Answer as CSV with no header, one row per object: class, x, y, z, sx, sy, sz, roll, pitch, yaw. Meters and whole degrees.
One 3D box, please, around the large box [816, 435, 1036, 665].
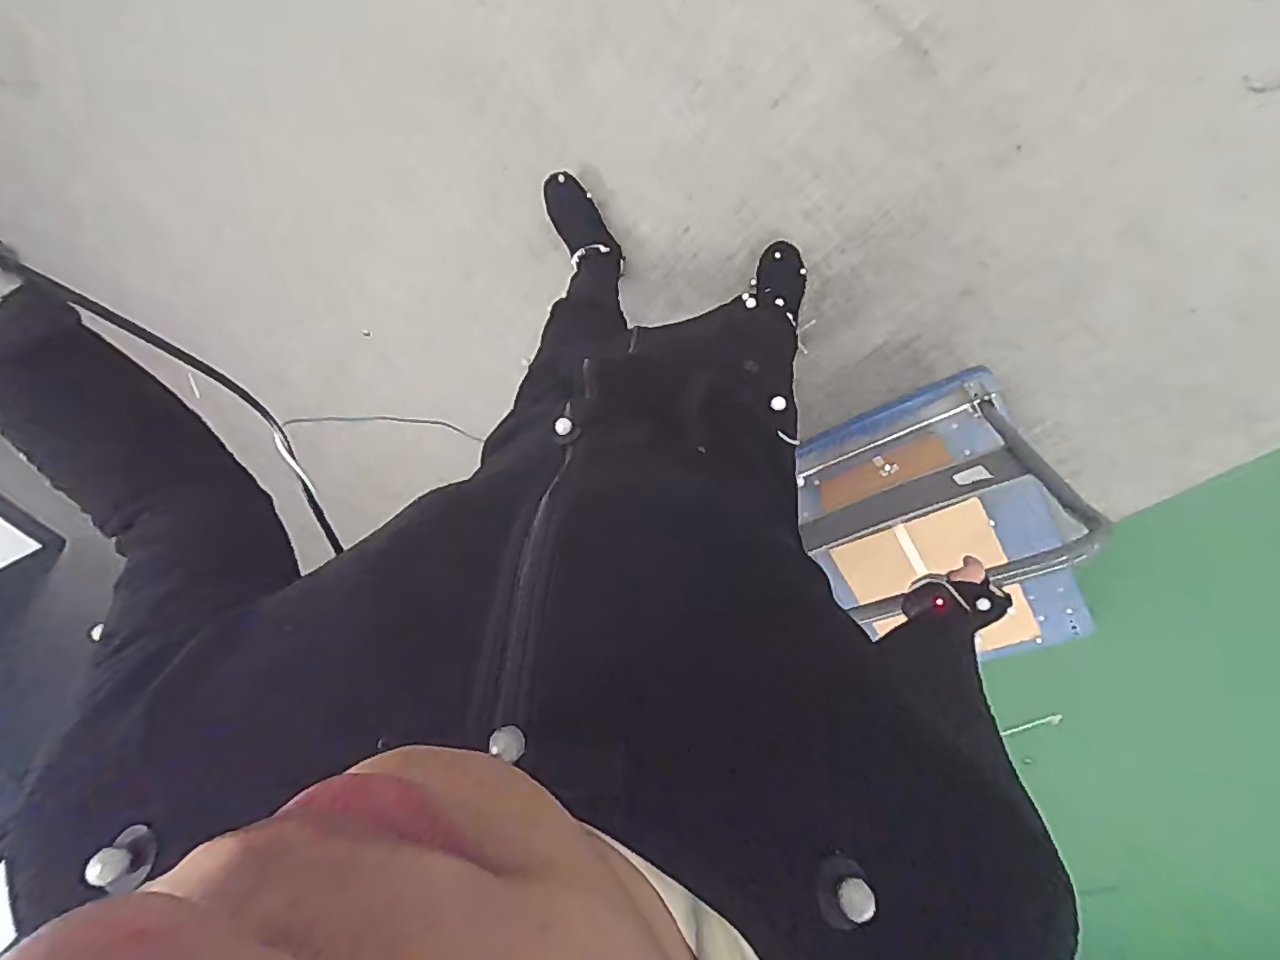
large box,0.672,0.168,1.322,0.320,0.320,0.408,-26,110,26
